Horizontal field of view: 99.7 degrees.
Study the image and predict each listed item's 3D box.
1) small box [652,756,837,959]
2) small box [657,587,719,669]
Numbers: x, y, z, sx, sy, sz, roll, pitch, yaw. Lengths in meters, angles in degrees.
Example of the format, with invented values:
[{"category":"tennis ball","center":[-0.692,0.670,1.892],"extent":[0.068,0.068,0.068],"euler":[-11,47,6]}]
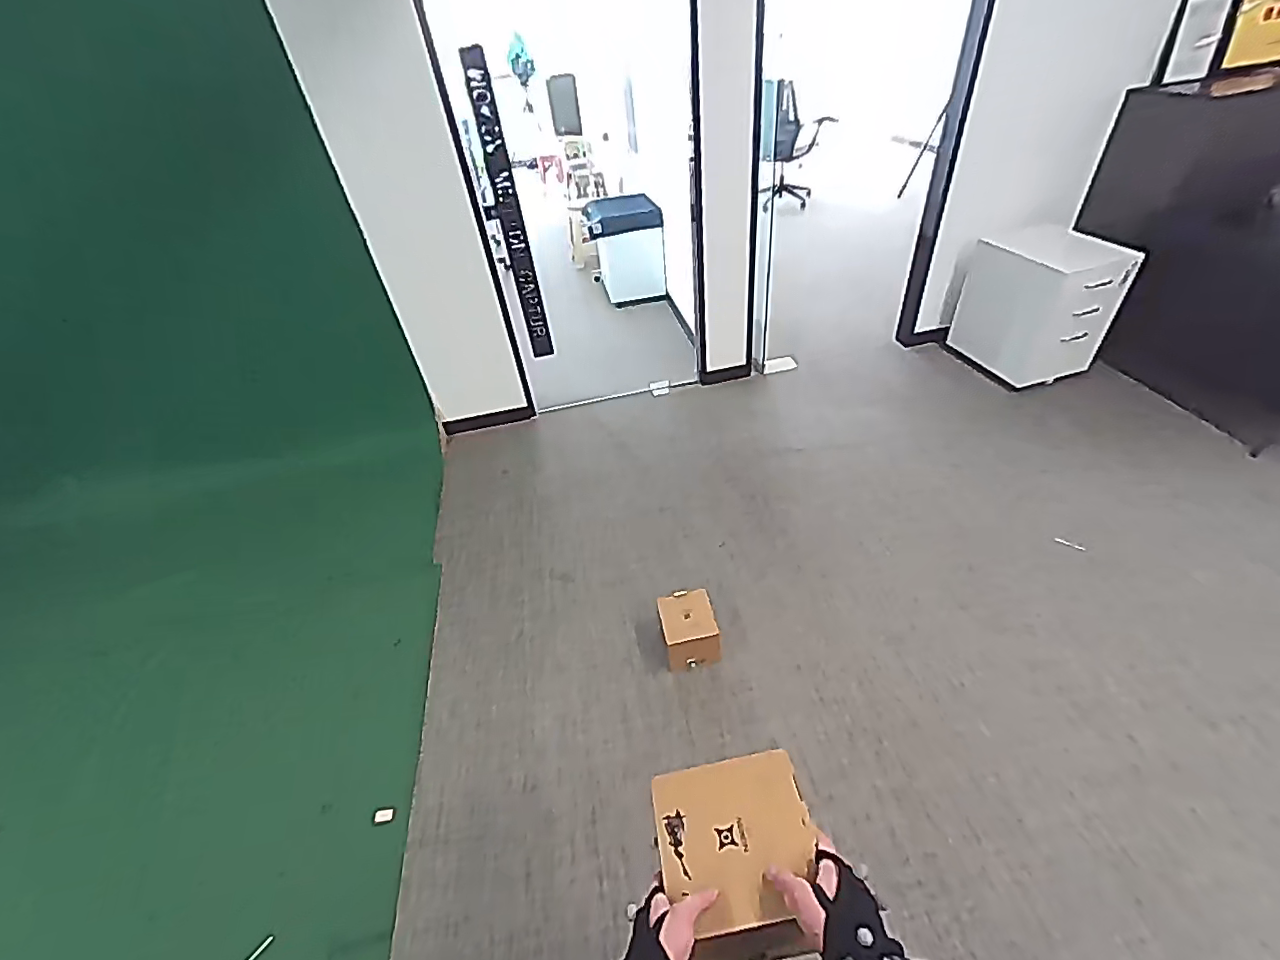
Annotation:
[{"category":"small box","center":[0.120,0.468,0.658],"extent":[0.179,0.176,0.168],"euler":[-12,38,1]},{"category":"small box","center":[0.154,0.474,1.726],"extent":[0.168,0.176,0.179],"euler":[-11,41,-1]}]
